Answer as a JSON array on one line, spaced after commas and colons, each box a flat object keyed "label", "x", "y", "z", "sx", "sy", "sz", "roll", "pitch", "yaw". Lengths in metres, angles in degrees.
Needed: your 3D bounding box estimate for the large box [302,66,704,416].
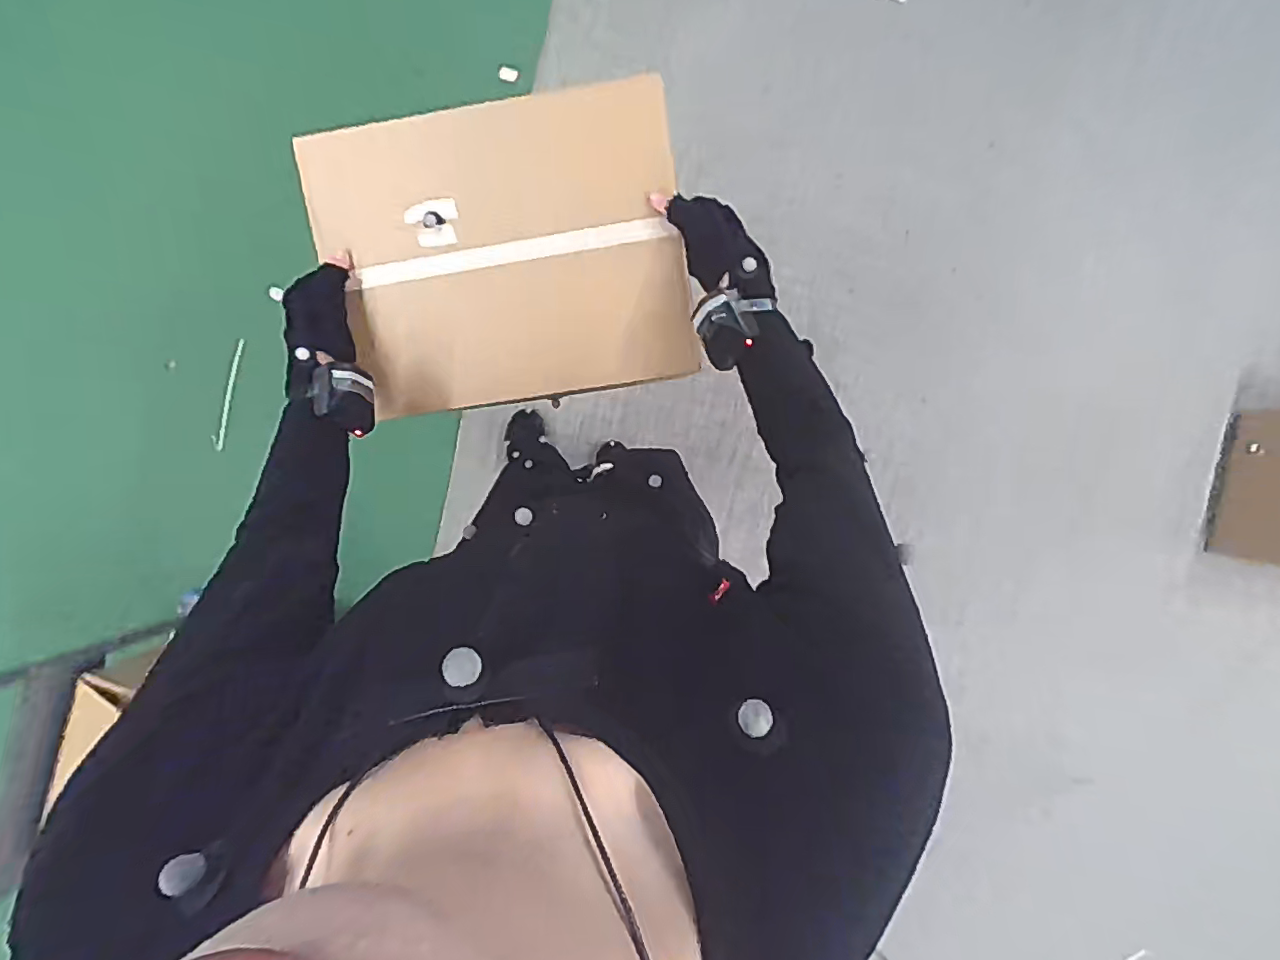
[{"label": "large box", "x": -0.139, "y": -0.278, "z": 0.736, "sx": 0.408, "sy": 0.320, "sz": 0.320, "roll": -7, "pitch": 100, "yaw": 3}]
